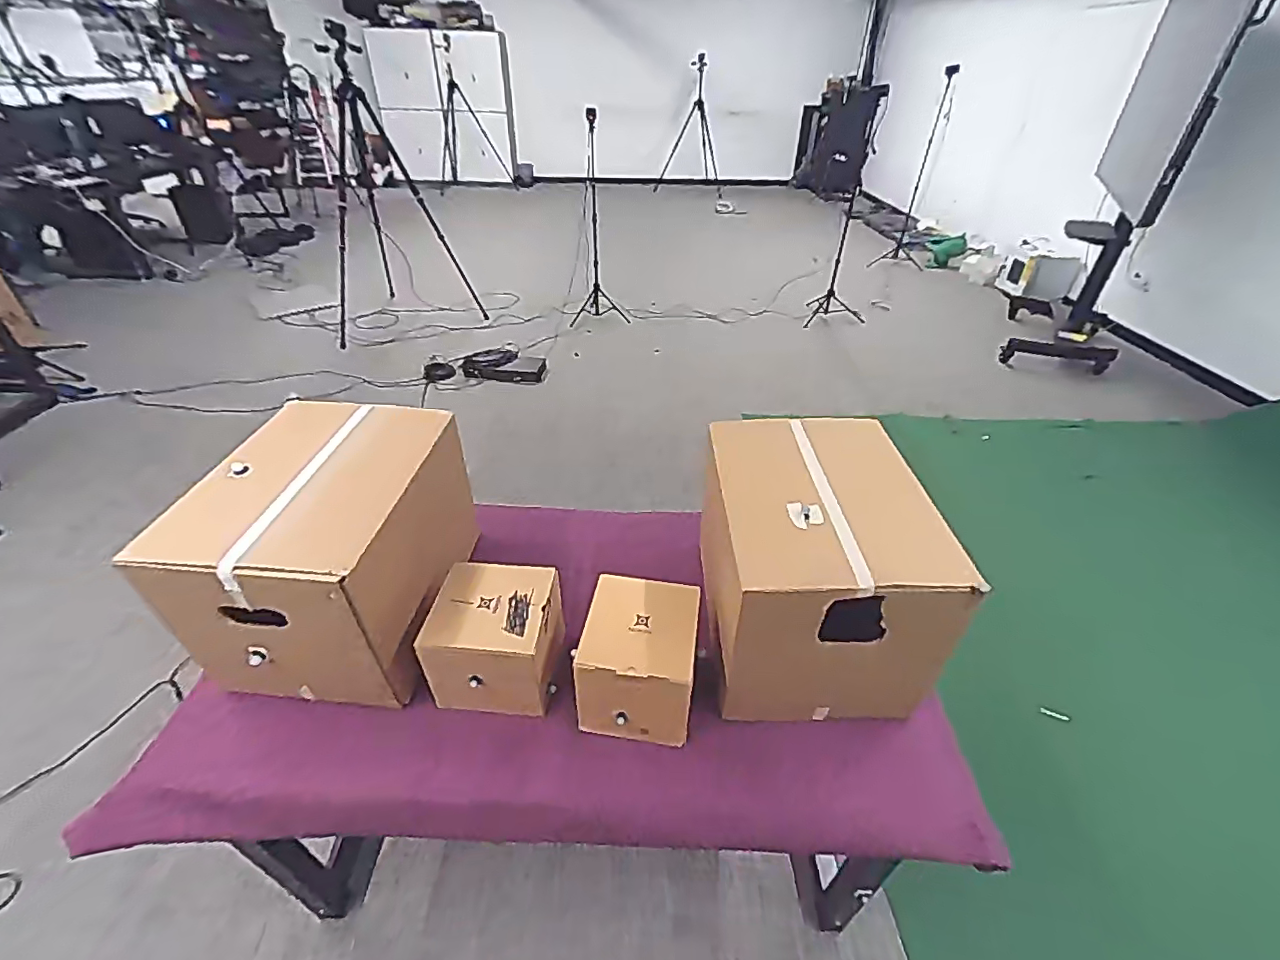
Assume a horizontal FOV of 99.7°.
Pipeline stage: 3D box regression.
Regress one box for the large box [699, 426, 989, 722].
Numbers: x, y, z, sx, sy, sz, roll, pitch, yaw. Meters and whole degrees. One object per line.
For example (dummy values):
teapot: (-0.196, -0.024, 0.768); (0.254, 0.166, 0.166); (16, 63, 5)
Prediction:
large box: (0.282, 0.144, 0.920); (0.320, 0.320, 0.408); (-1, 38, 1)
